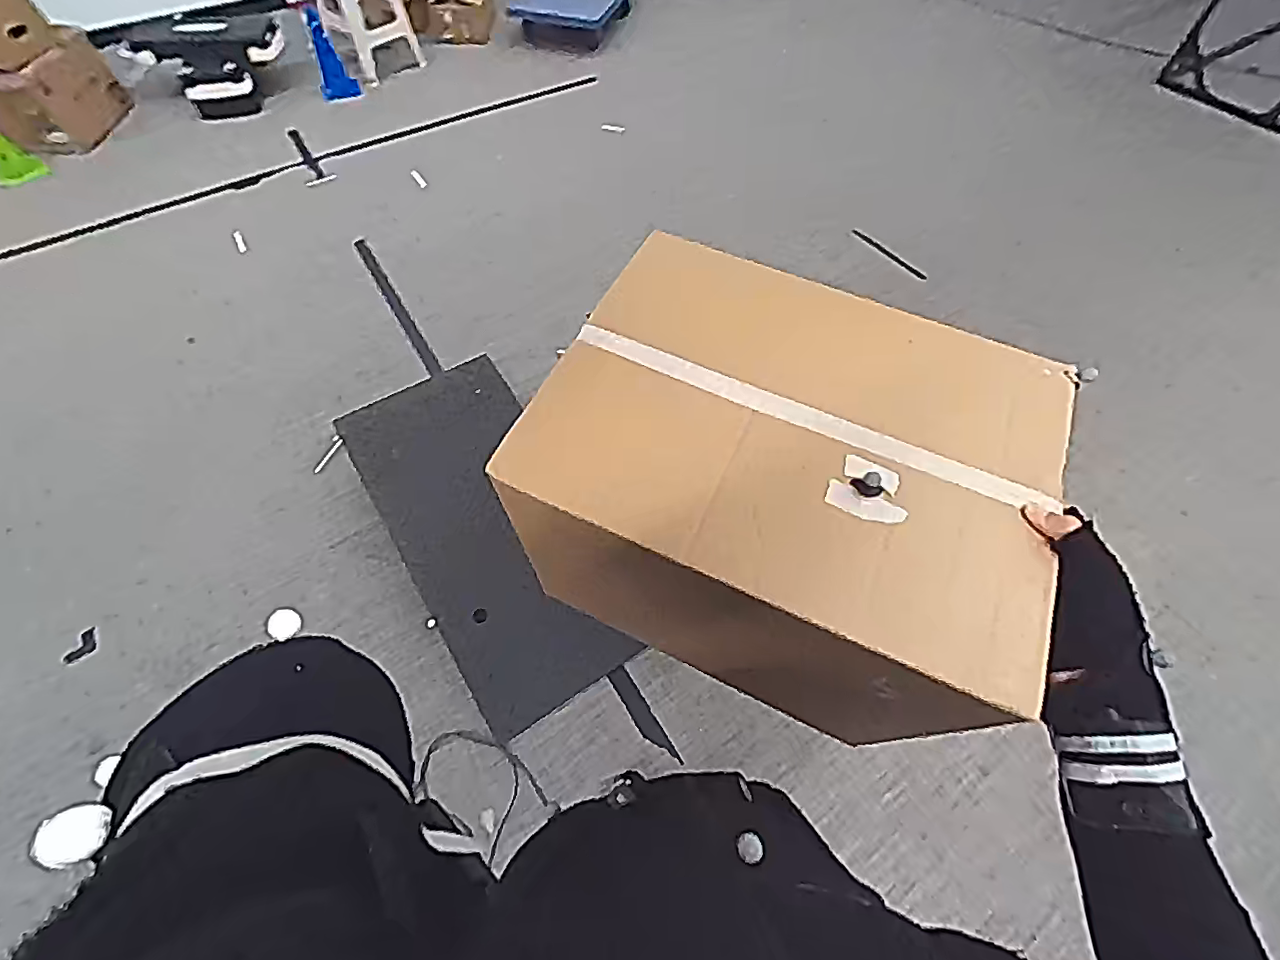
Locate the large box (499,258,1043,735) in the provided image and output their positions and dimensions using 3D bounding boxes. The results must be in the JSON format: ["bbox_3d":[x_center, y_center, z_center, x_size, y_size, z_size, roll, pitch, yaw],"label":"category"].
[{"bbox_3d":[0.121,0.030,0.590,0.408,0.320,0.320,23,64,11],"label":"large box"}]

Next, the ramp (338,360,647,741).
[{"bbox_3d":[-0.399,0.127,1.503,0.509,0.206,0.991,-31,64,-19],"label":"ramp"}]
